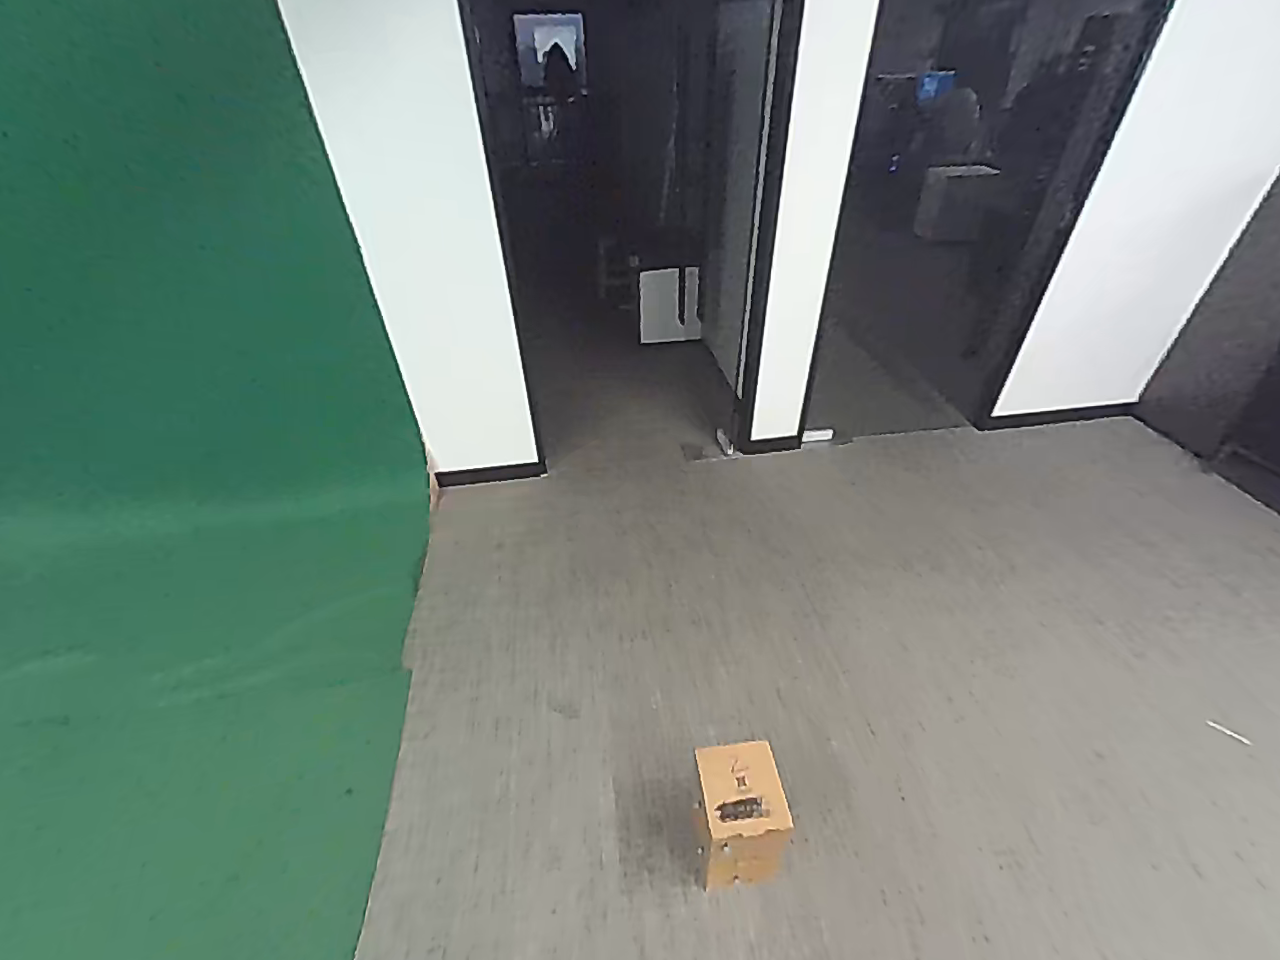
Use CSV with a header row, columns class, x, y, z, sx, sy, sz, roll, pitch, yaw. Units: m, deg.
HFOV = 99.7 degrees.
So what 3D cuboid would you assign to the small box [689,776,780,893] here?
class,x,y,z,sx,sy,sz,roll,pitch,yaw
small box,0.211,0.830,1.267,0.168,0.176,0.179,-5,39,-5
